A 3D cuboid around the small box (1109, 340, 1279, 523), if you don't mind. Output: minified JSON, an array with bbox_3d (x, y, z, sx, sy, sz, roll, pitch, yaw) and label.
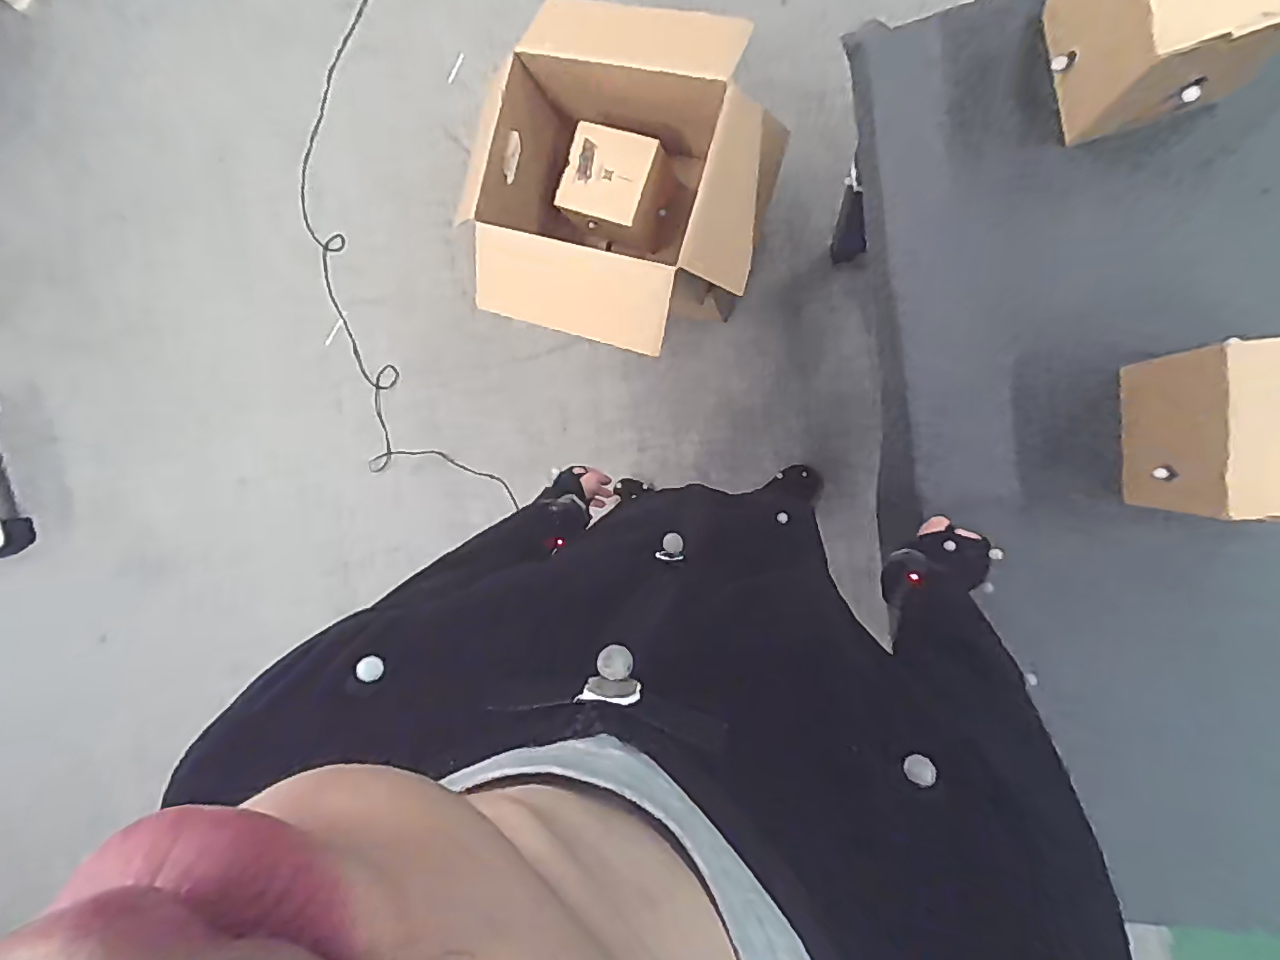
[{"bbox_3d":[0.655,-0.052,0.587,0.168,0.176,0.179,-3,92,12],"label":"small box"}]

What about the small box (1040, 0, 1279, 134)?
[{"bbox_3d":[0.567,-0.506,0.575,0.168,0.176,0.179,-11,92,14],"label":"small box"}]
